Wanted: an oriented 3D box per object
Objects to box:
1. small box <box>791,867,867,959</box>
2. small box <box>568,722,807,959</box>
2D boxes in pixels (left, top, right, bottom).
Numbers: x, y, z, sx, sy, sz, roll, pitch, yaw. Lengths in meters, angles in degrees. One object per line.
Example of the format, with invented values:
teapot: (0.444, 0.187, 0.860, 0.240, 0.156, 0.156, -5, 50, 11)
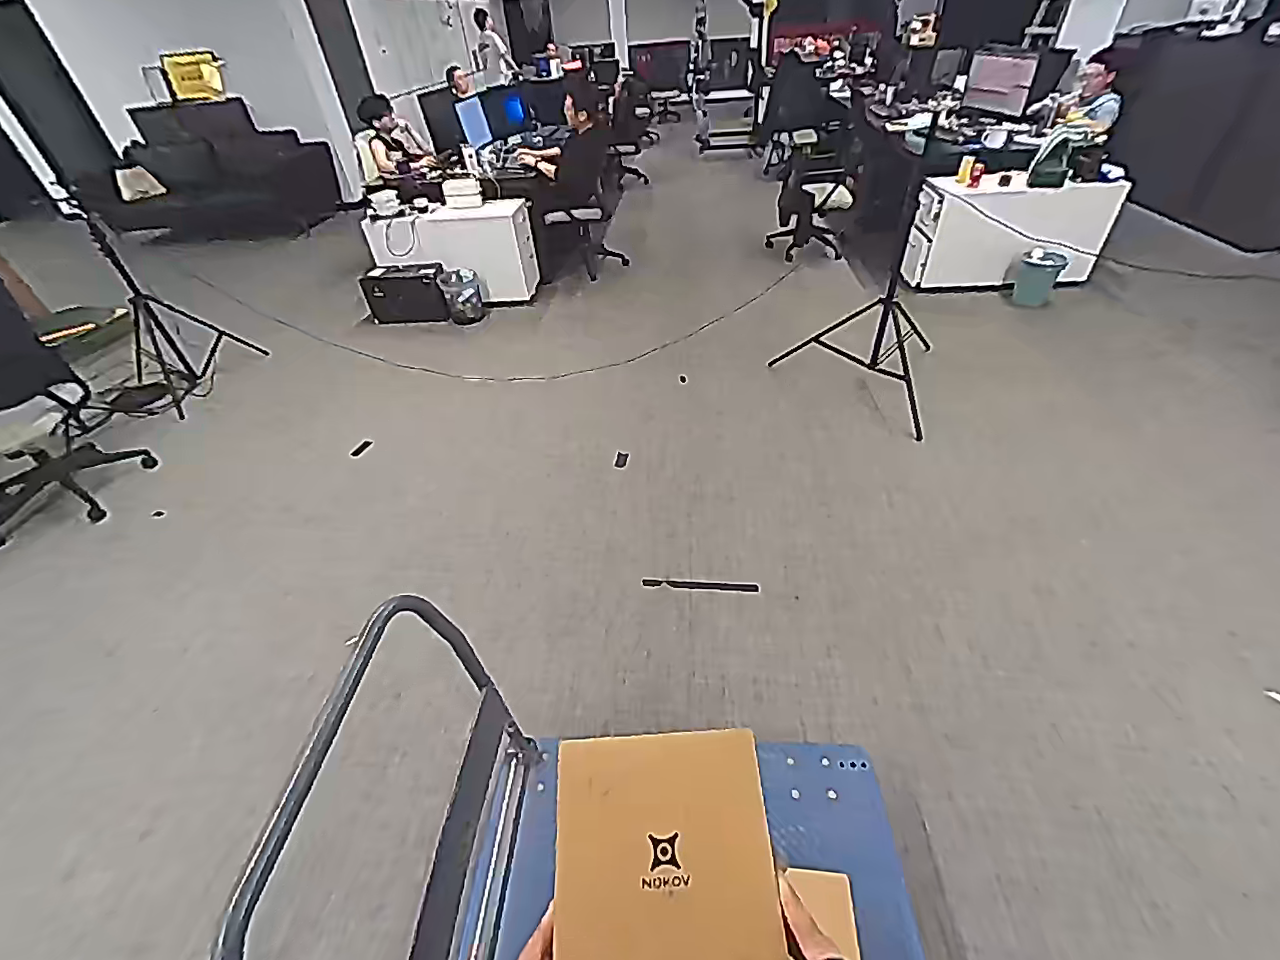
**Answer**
small box: (0.291, 0.808, 0.945, 0.168, 0.176, 0.179, 1, 41, 8)
small box: (0.029, 0.323, 0.468, 0.168, 0.176, 0.179, -3, 55, -2)
